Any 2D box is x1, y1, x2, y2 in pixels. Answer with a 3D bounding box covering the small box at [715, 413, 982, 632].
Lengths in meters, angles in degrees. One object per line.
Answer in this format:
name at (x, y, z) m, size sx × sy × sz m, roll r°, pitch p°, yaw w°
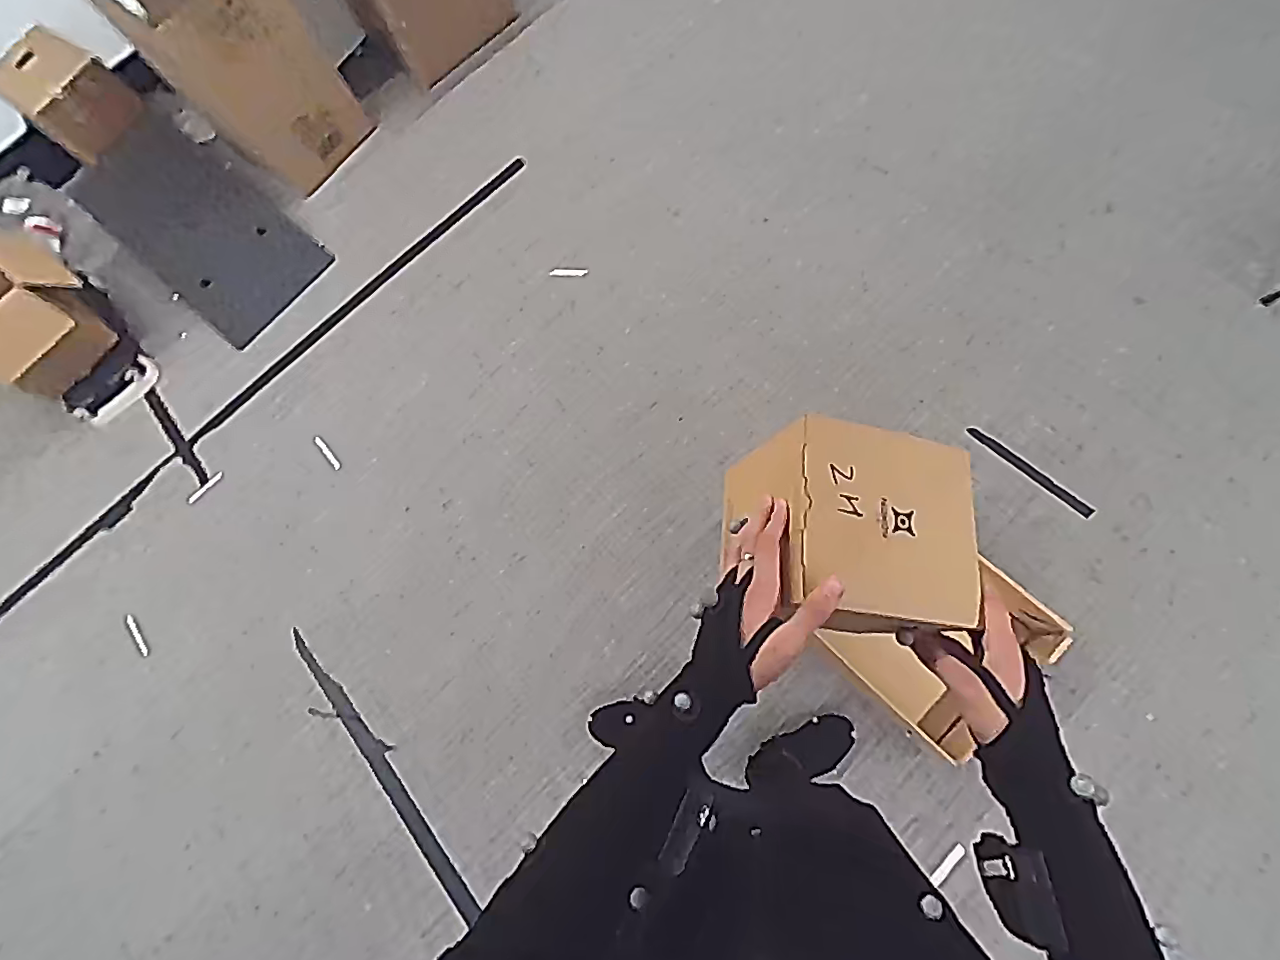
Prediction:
small box at (0.191, 0.055, 0.530) m, size 0.179 × 0.176 × 0.168 m, roll 10°, pitch 71°, yaw -13°
